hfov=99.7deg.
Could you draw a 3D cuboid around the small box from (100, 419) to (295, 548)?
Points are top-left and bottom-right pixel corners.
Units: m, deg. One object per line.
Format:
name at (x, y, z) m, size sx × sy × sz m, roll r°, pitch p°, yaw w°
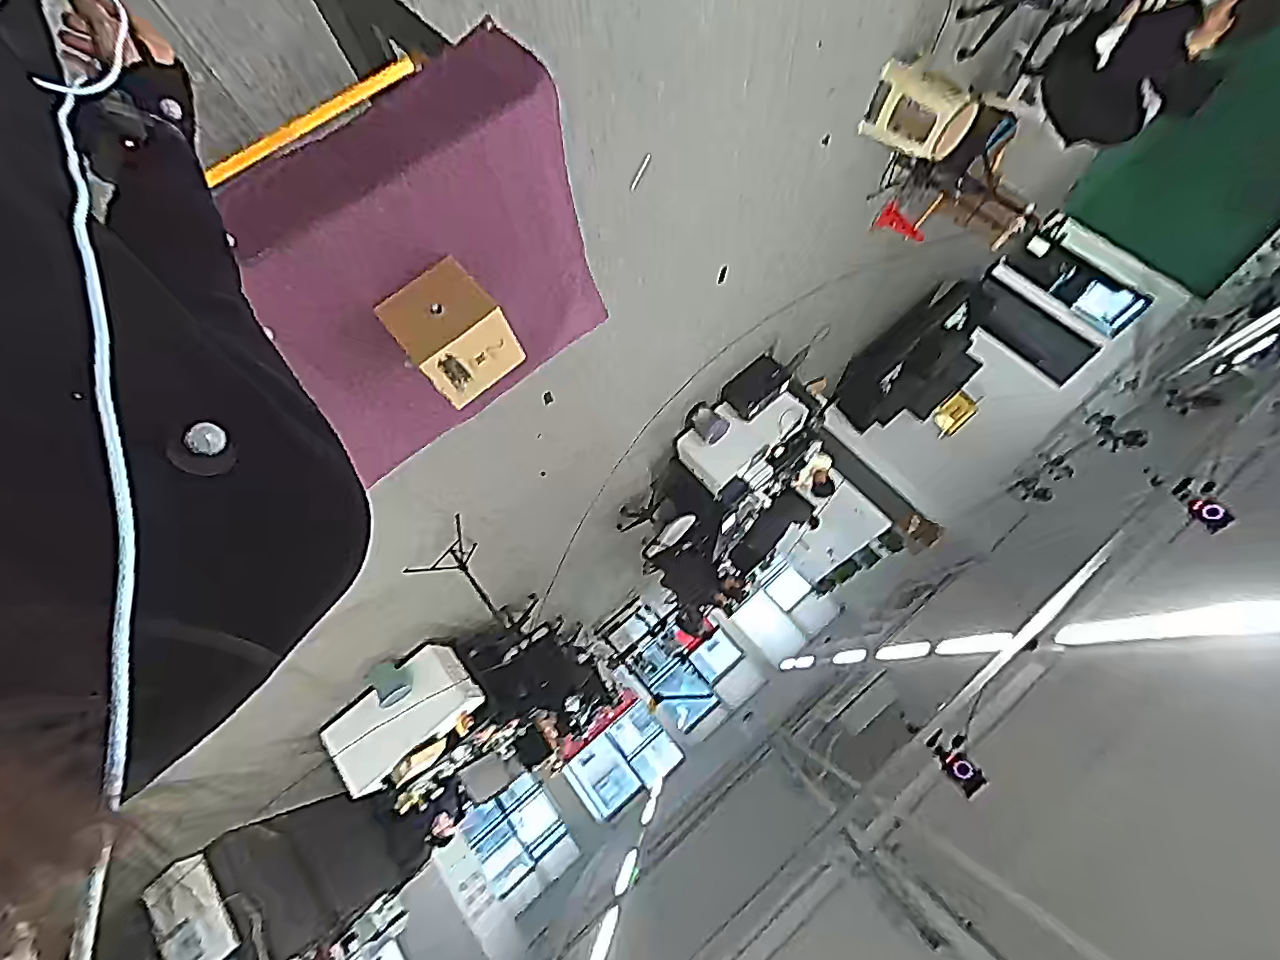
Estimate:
small box at (-0.756, 0.021, 0.930) m, size 0.168 × 0.176 × 0.179 m, roll -39°, pitch 162°, yaw -9°
